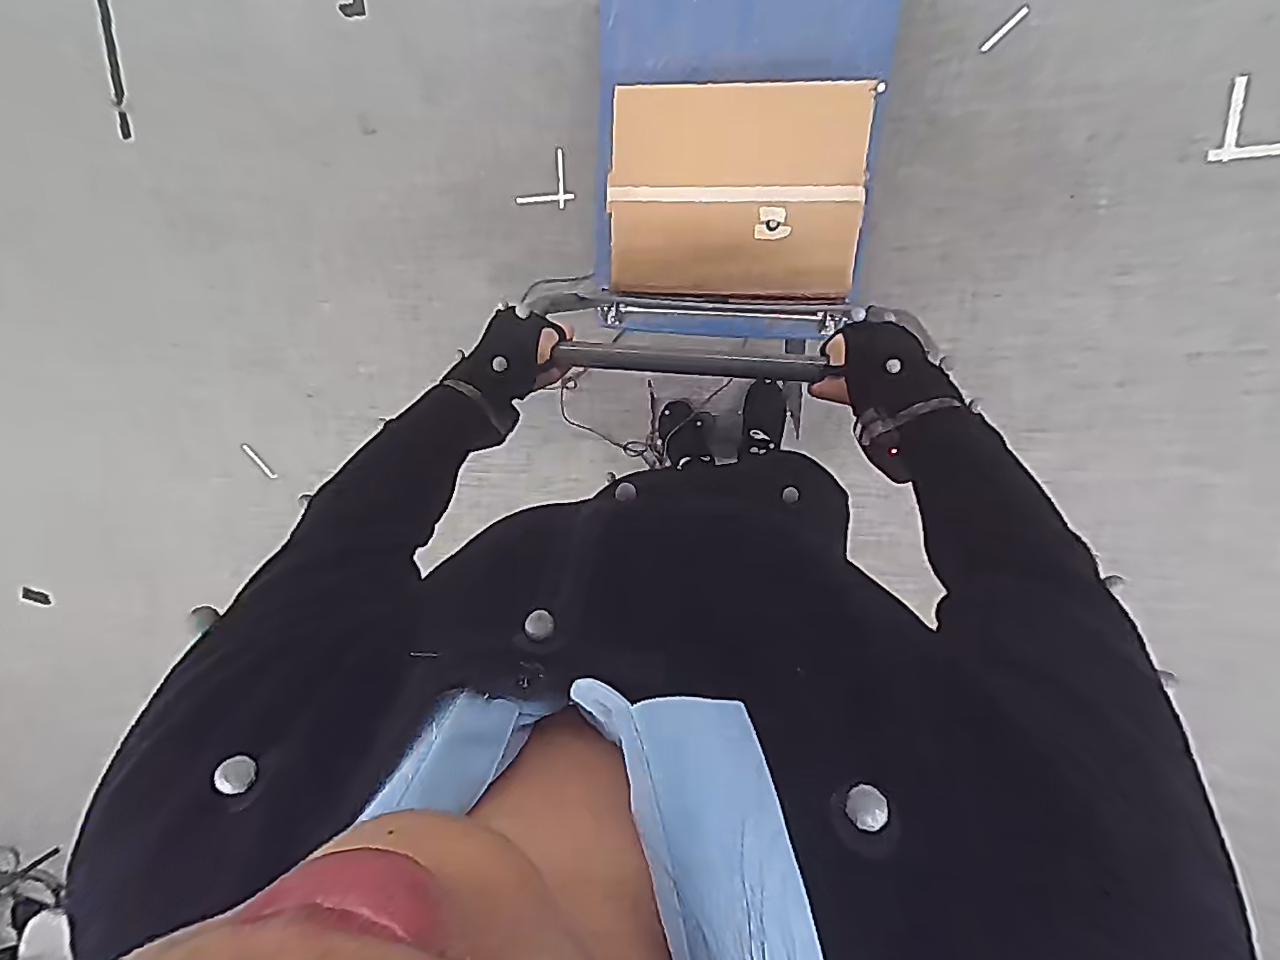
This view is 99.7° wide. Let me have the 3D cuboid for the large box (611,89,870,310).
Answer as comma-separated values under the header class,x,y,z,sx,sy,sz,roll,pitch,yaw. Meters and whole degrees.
class,x,y,z,sx,sy,sz,roll,pitch,yaw
large box,0.166,-0.488,1.019,0.408,0.320,0.320,4,107,7
